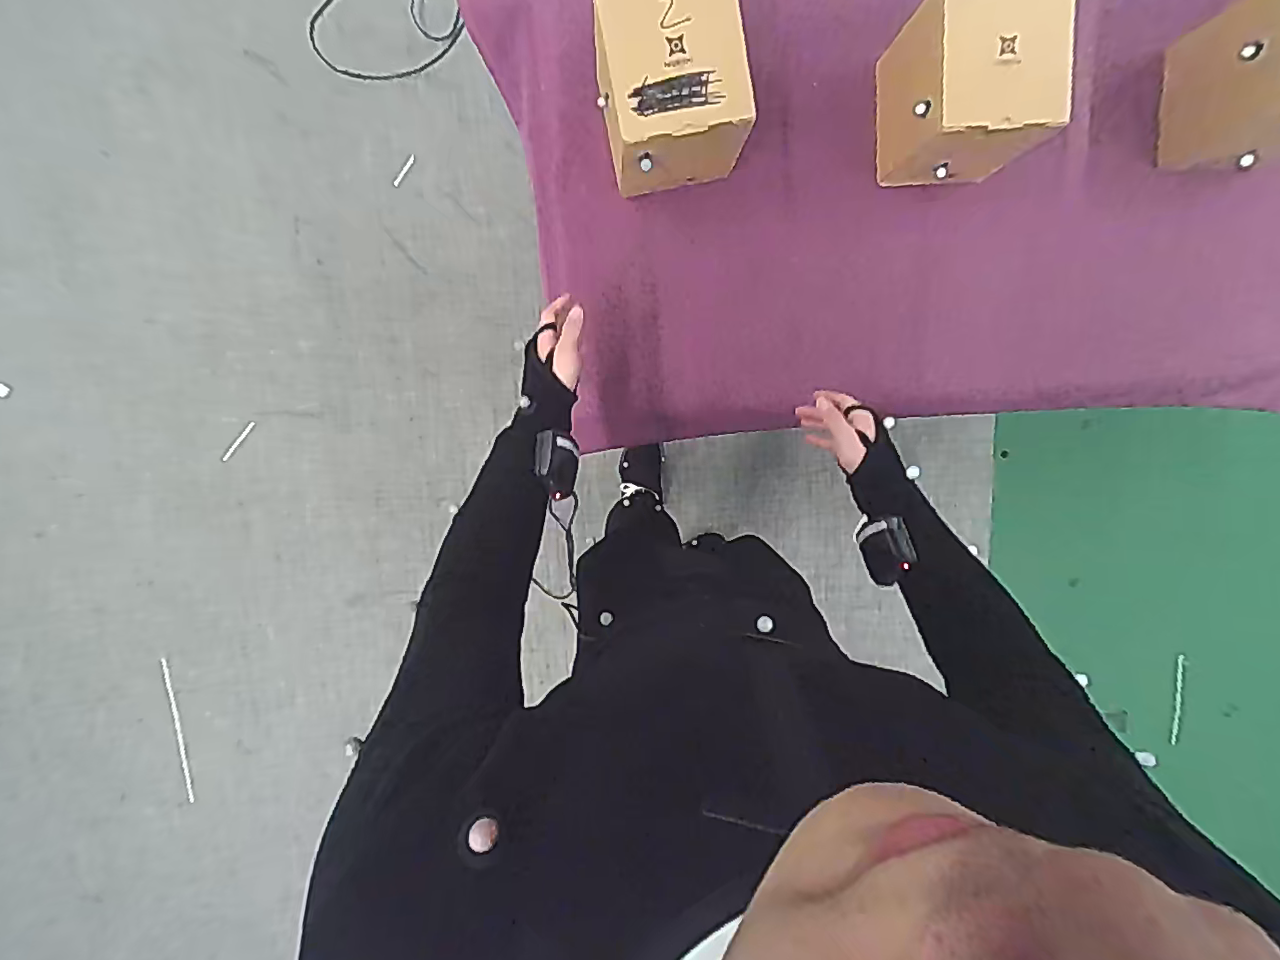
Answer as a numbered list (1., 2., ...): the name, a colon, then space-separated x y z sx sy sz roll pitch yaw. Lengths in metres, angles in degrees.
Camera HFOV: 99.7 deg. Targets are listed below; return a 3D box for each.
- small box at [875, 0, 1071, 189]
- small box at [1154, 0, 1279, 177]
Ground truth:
1. small box: 0.439 -0.524 0.739 0.168 0.176 0.179 -4 99 -3
2. small box: 0.878 -0.551 0.756 0.168 0.176 0.179 -3 98 -2
